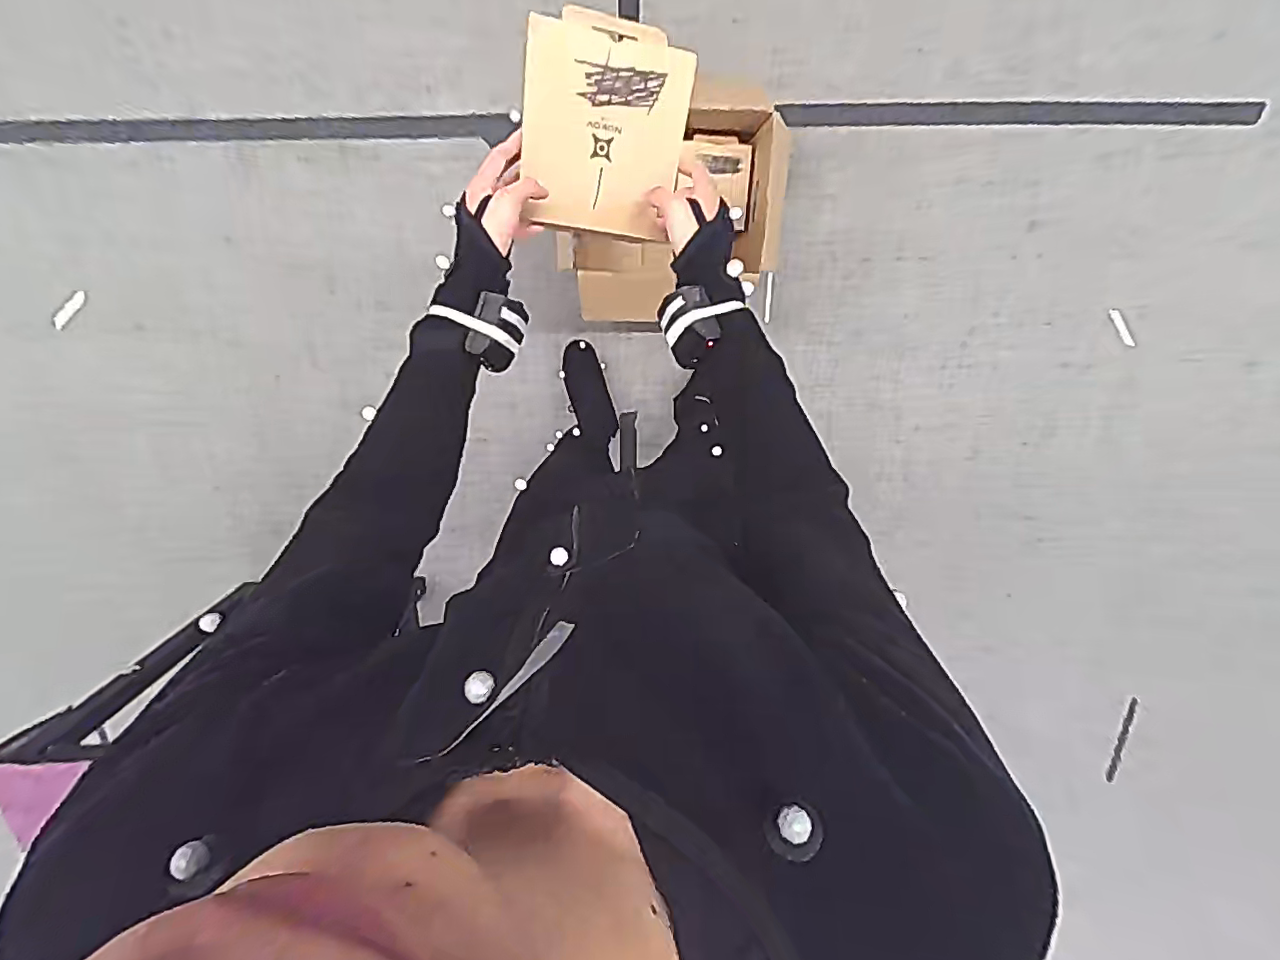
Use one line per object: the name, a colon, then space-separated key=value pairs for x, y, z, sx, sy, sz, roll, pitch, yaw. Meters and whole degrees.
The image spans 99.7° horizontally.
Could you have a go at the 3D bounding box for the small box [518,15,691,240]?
small box: x=-0.054 y=-0.389 z=0.634 sx=0.168 sy=0.176 sz=0.179 roll=3 pitch=113 yaw=-14
